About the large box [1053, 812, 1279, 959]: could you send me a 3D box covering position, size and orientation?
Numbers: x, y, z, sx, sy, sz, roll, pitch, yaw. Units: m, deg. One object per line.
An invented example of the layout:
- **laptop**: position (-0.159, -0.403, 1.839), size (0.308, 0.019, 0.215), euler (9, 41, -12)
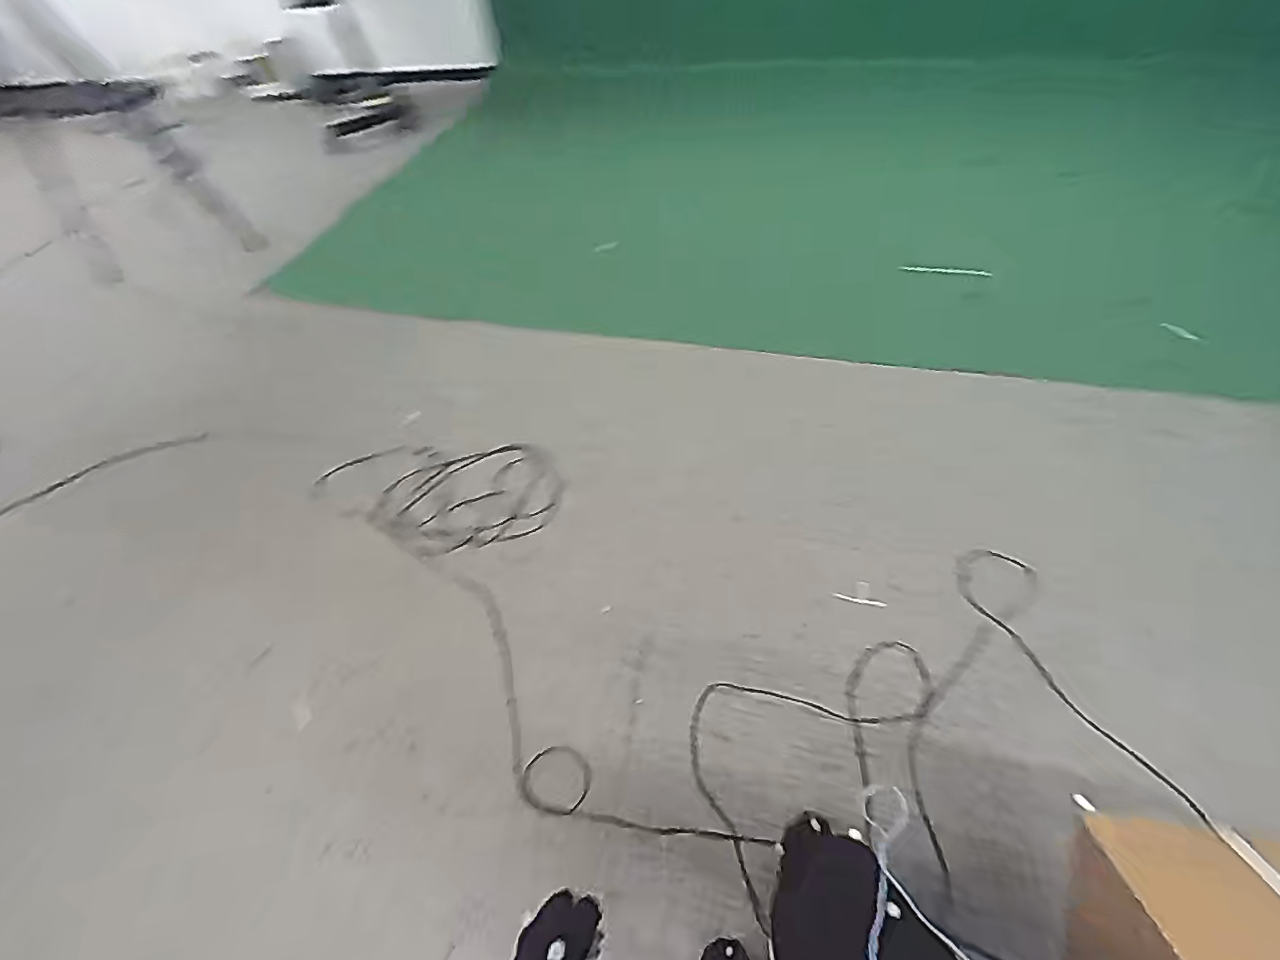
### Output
- **large box**: position (0.692, 0.636, 0.546), size (0.320, 0.320, 0.408), euler (1, 8, 14)
